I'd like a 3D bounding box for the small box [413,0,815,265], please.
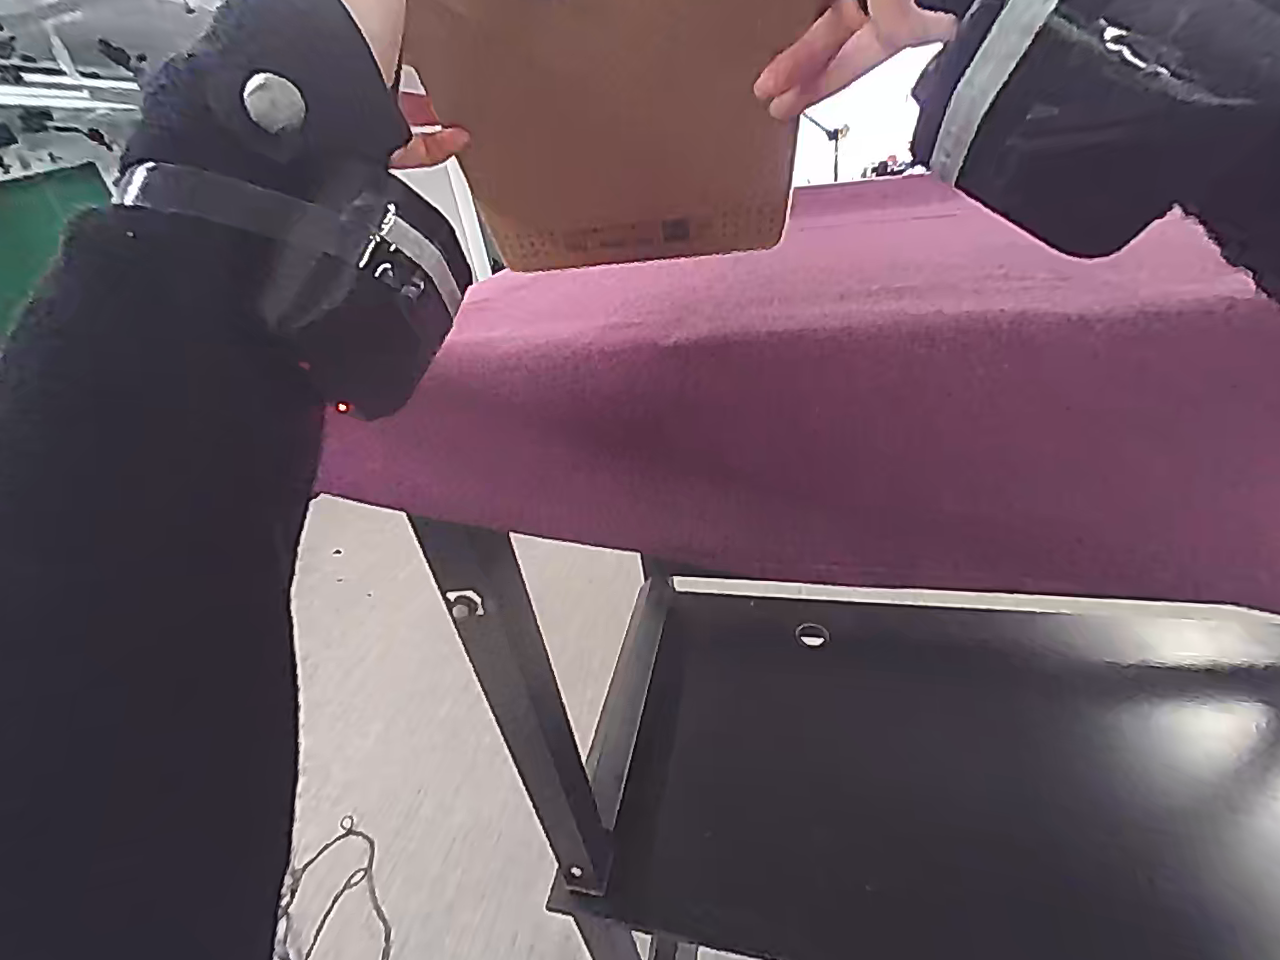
[{"bbox_3d":[-0.008,-0.243,0.283,0.168,0.176,0.179,-2,63,7],"label":"small box"}]
